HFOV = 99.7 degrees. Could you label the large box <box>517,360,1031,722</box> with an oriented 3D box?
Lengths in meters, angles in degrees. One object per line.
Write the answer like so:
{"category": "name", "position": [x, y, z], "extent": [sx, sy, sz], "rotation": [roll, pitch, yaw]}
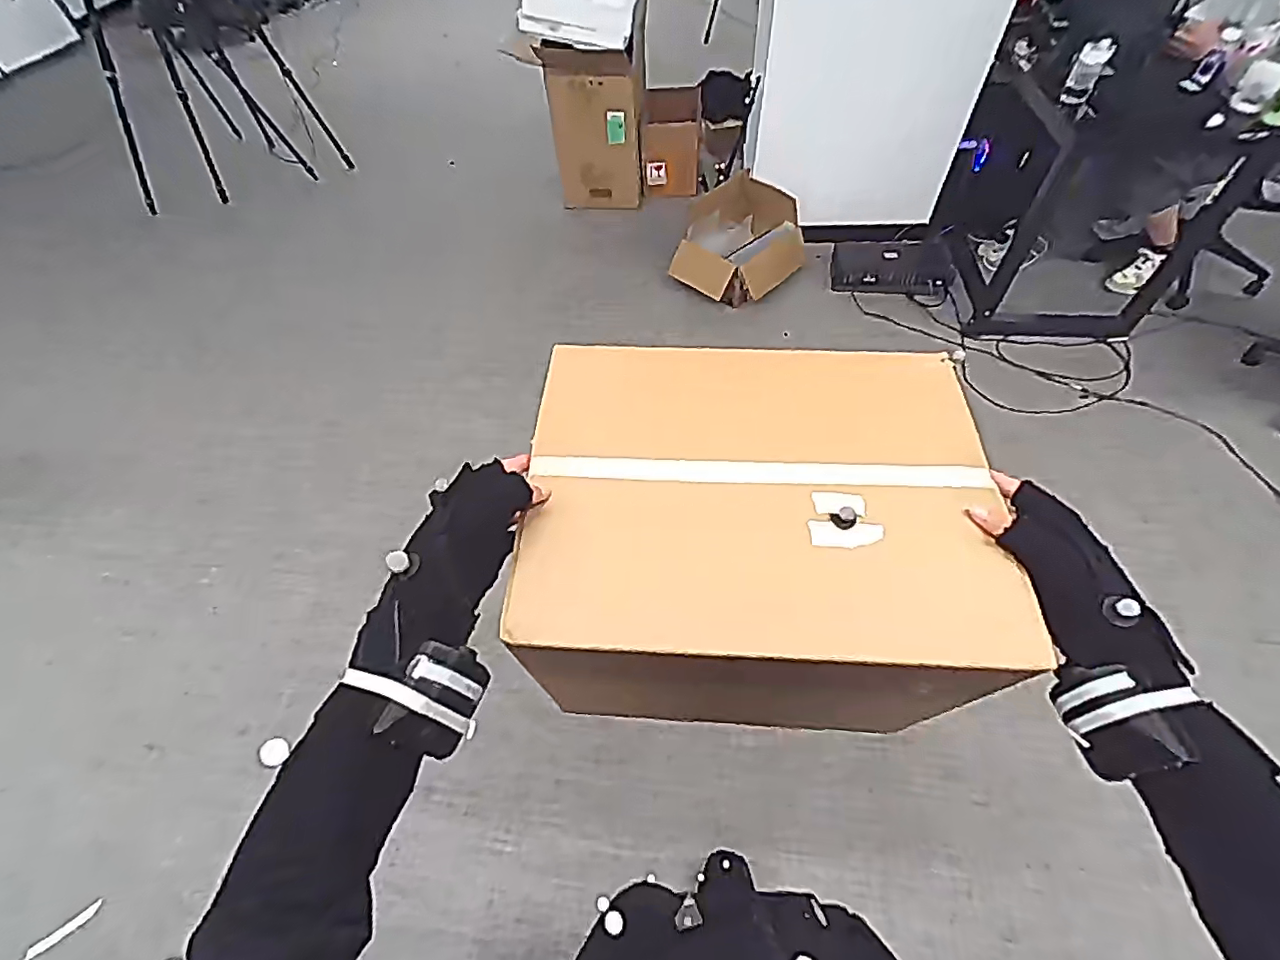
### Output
{"category": "large box", "position": [0.106, 0.083, 0.619], "extent": [0.408, 0.320, 0.320], "rotation": [2, 58, 3]}
